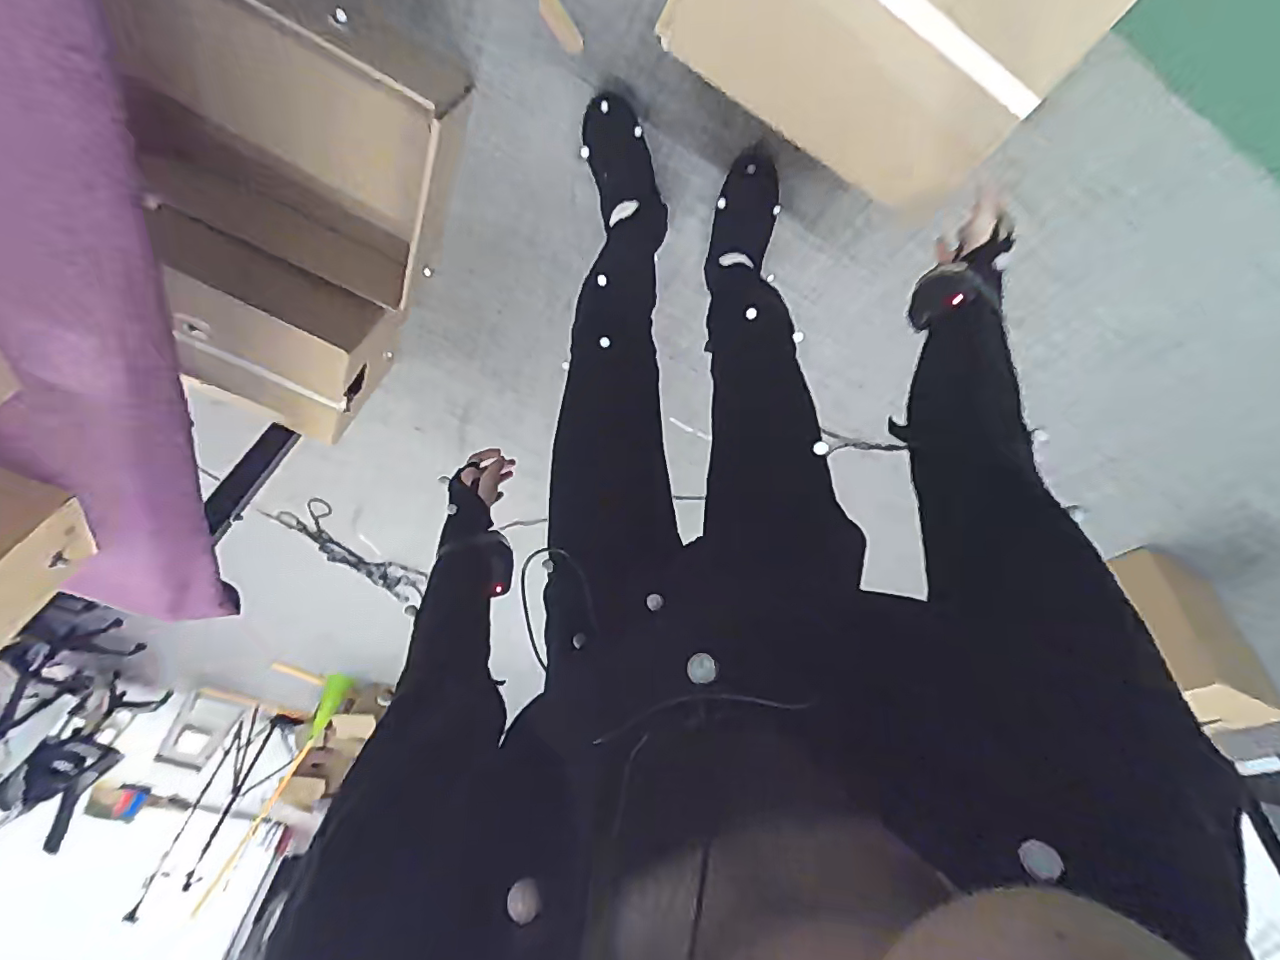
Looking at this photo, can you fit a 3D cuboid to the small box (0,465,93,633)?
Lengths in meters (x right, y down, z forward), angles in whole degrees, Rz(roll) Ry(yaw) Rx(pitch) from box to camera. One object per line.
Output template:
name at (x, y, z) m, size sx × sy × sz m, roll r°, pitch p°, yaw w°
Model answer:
small box at (-0.827, 0.076, 0.644) m, size 0.179 × 0.176 × 0.168 m, roll 26°, pitch 135°, yaw -18°
